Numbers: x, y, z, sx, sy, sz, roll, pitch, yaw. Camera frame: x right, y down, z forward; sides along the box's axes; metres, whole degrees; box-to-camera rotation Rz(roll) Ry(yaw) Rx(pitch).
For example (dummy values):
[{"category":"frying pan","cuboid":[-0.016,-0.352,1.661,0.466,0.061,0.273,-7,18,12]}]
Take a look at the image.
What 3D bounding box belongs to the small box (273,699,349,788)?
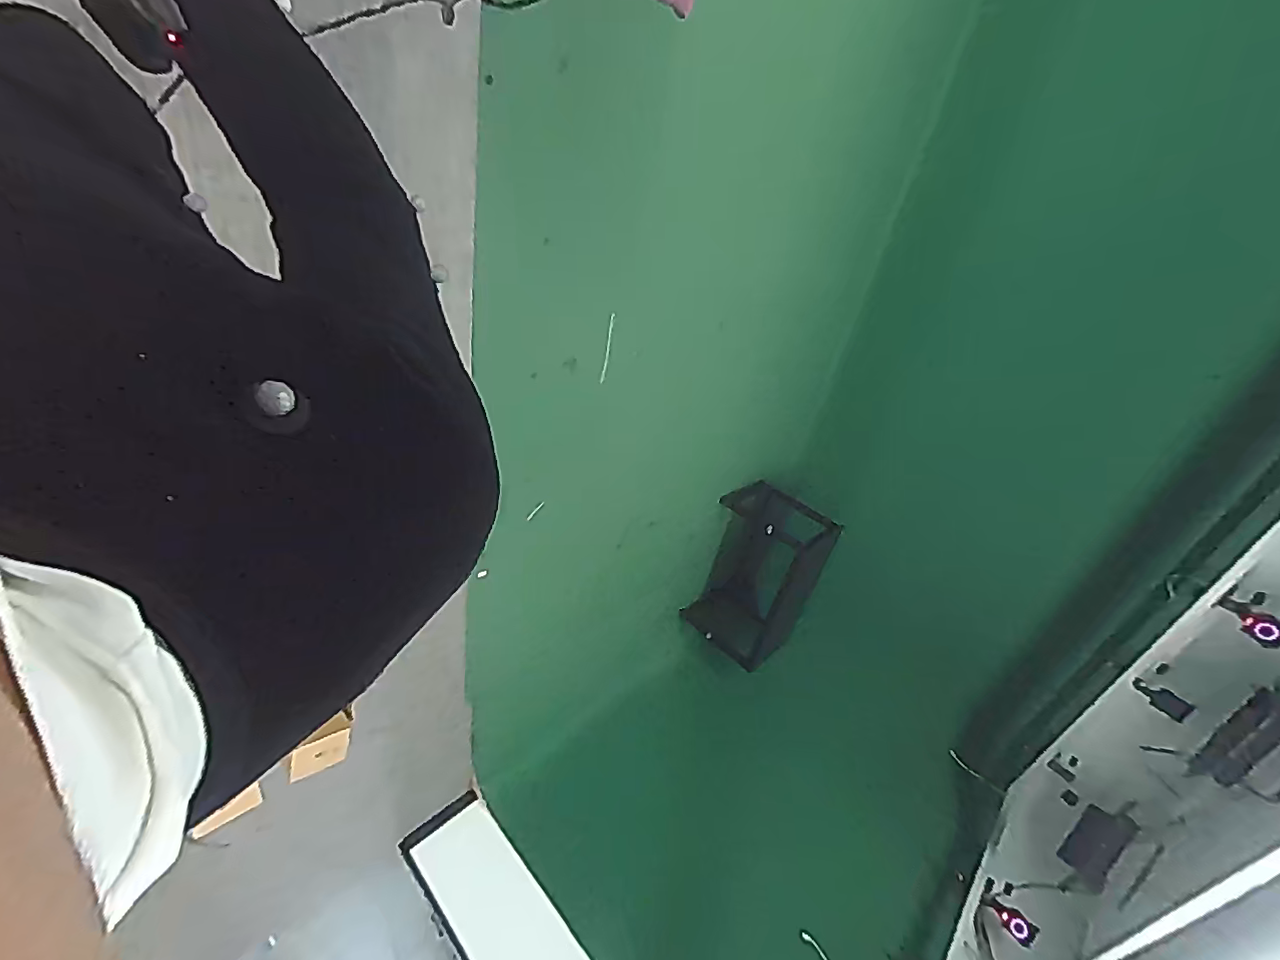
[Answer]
[{"category":"small box","cuboid":[-1.112,0.878,1.819,0.179,0.176,0.168,-8,126,-49]}]
